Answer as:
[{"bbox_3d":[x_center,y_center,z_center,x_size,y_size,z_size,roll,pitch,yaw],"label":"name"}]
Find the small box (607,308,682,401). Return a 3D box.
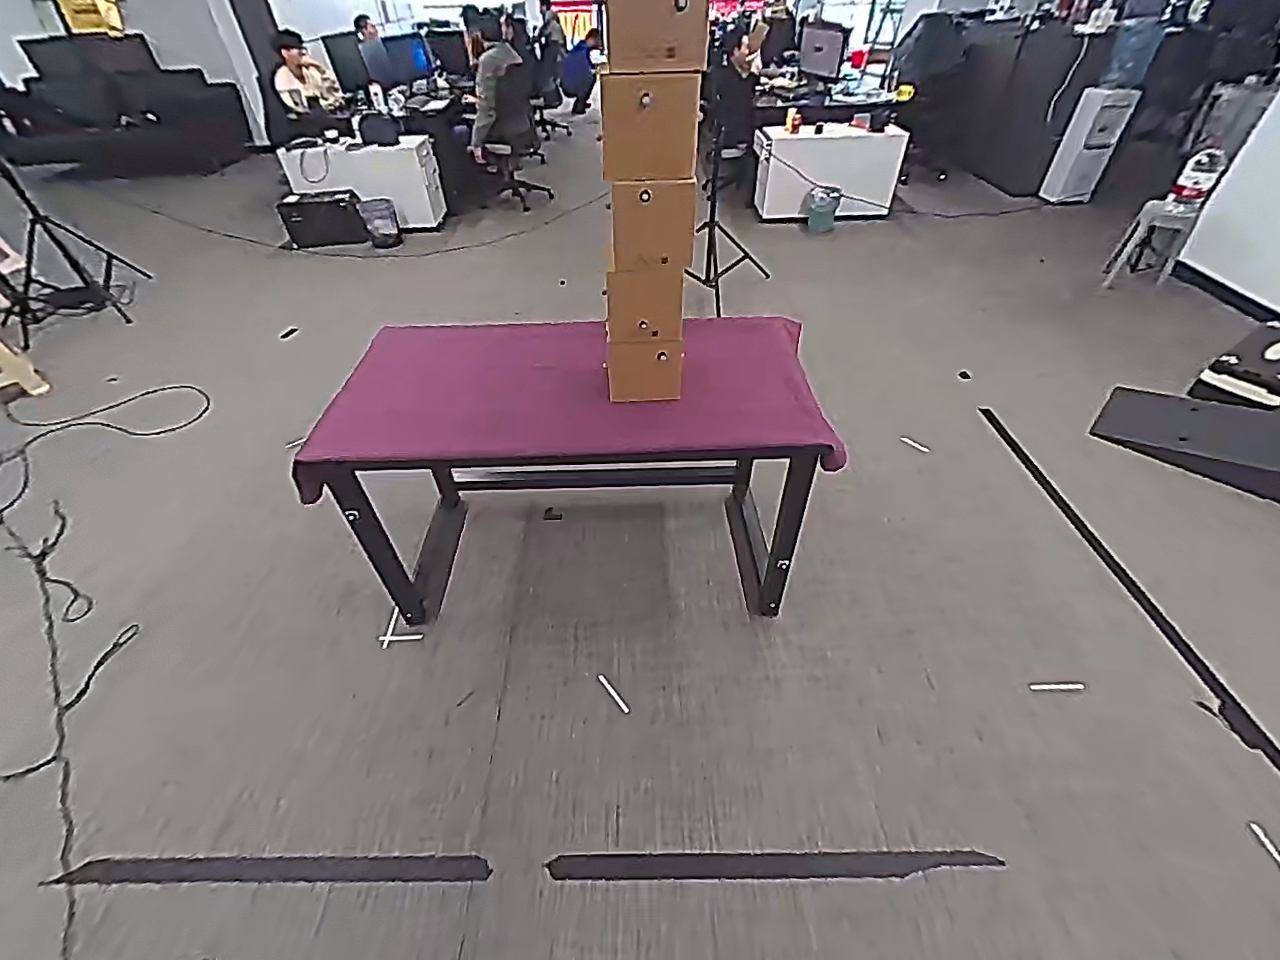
[{"bbox_3d":[0.009,-0.312,1.349,0.179,0.176,0.168,-3,42,-1],"label":"small box"}]

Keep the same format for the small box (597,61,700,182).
[{"bbox_3d":[0.011,-0.679,1.024,0.179,0.176,0.168,-3,43,-2],"label":"small box"}]

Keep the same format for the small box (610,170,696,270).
[{"bbox_3d":[0.022,-0.552,1.126,0.168,0.176,0.179,-3,43,-1],"label":"small box"}]

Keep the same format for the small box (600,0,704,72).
[{"bbox_3d":[0.017,-0.800,0.916,0.168,0.176,0.179,-3,42,-4],"label":"small box"}]
